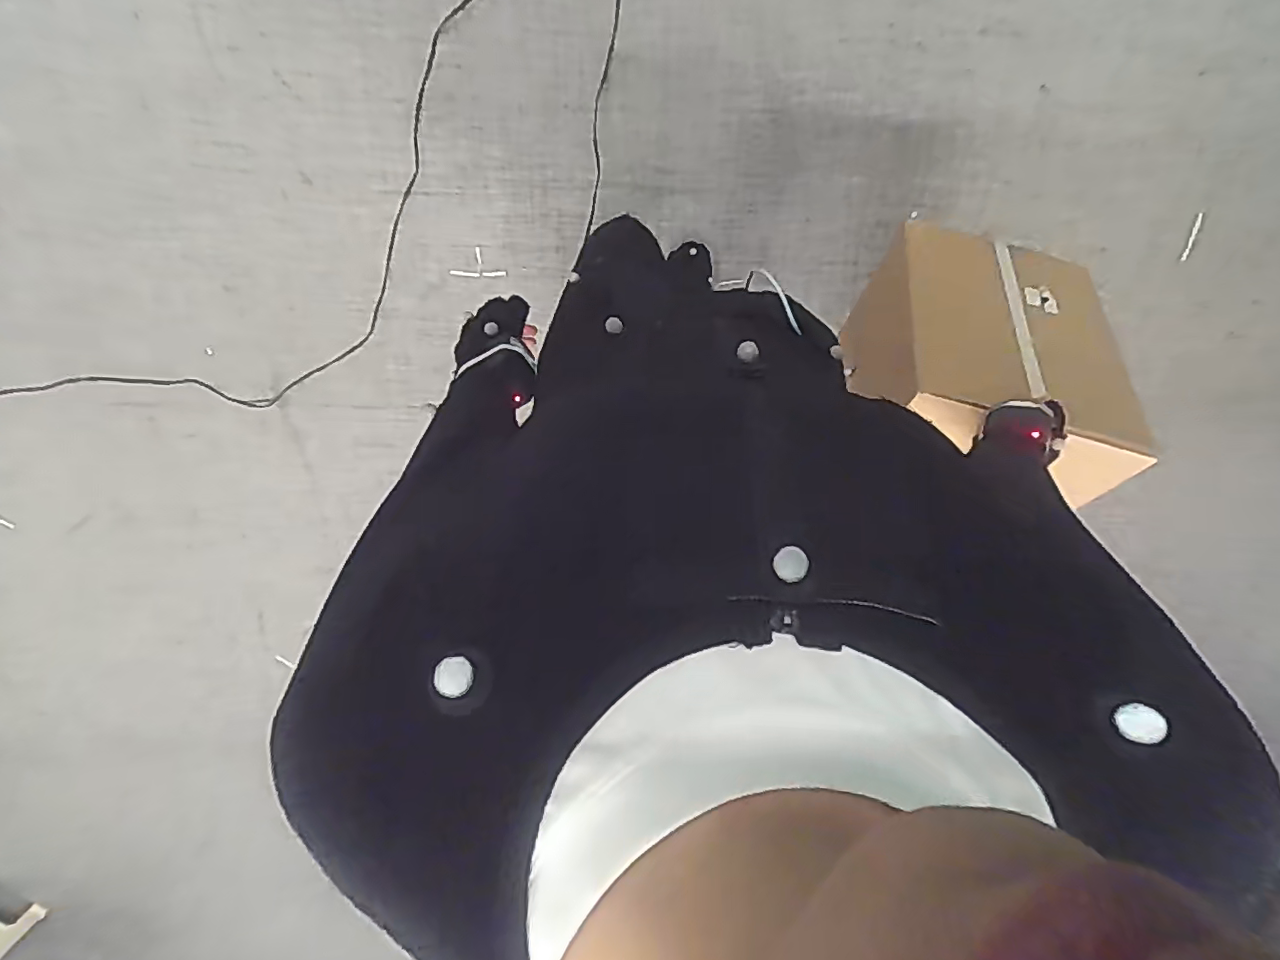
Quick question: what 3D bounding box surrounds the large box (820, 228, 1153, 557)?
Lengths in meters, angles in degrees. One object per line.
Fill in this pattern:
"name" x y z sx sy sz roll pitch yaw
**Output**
"large box" 0.512 -0.139 0.903 0.320 0.408 0.320 16 146 0
